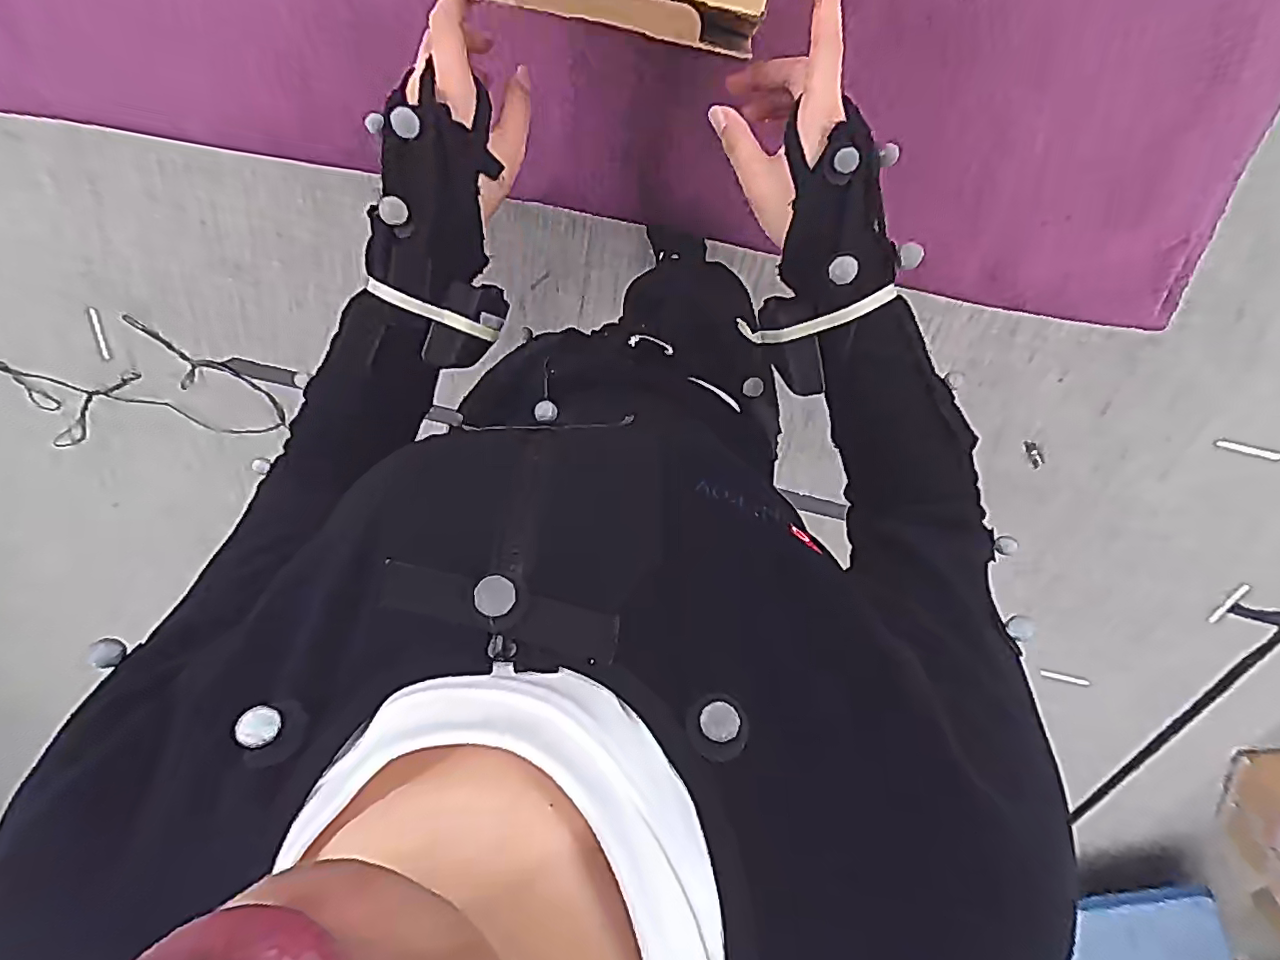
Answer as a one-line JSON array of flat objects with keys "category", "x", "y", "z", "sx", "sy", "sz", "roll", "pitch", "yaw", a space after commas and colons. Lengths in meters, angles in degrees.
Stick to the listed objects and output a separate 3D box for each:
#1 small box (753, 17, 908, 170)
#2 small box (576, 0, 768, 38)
[{"category": "small box", "x": 0.289, "y": -0.607, "z": 0.871, "sx": 0.179, "sy": 0.176, "sz": 0.168, "roll": 12, "pitch": 121, "yaw": 1}, {"category": "small box", "x": 0.010, "y": -0.378, "z": 0.305, "sx": 0.168, "sy": 0.179, "sz": 0.176, "roll": 13, "pitch": 128, "yaw": -1}]
